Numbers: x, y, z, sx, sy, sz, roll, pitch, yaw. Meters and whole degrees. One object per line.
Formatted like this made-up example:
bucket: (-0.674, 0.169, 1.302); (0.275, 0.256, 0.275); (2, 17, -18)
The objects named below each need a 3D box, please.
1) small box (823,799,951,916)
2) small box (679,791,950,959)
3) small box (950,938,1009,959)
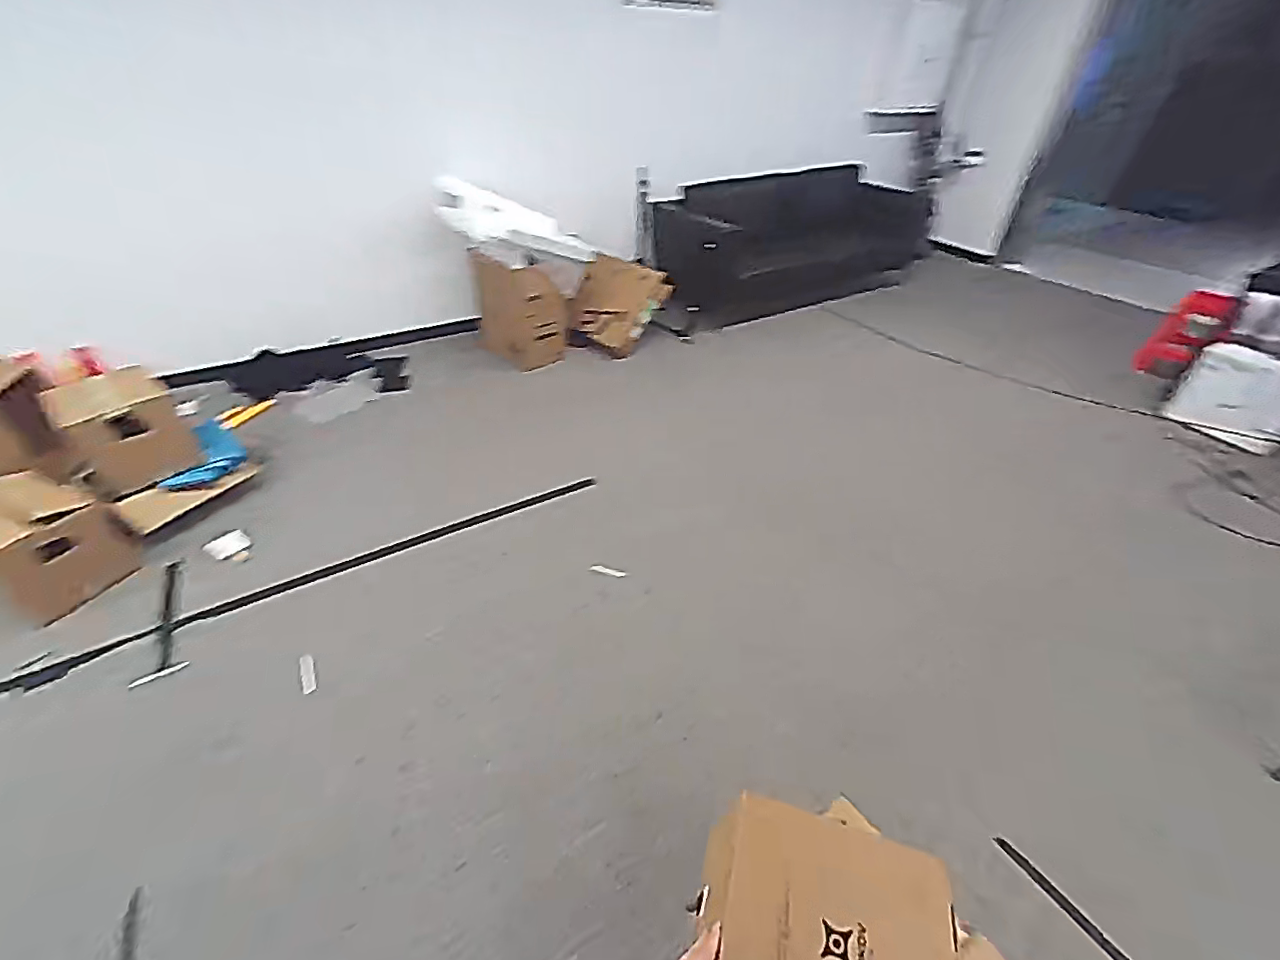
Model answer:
small box: (0.299, 0.620, 0.782); (0.168, 0.176, 0.179); (-23, 43, -30)
small box: (0.133, 0.397, 0.452); (0.179, 0.176, 0.168); (14, 44, 7)
small box: (0.416, 0.721, 0.656); (0.179, 0.176, 0.168); (-21, 44, -29)
